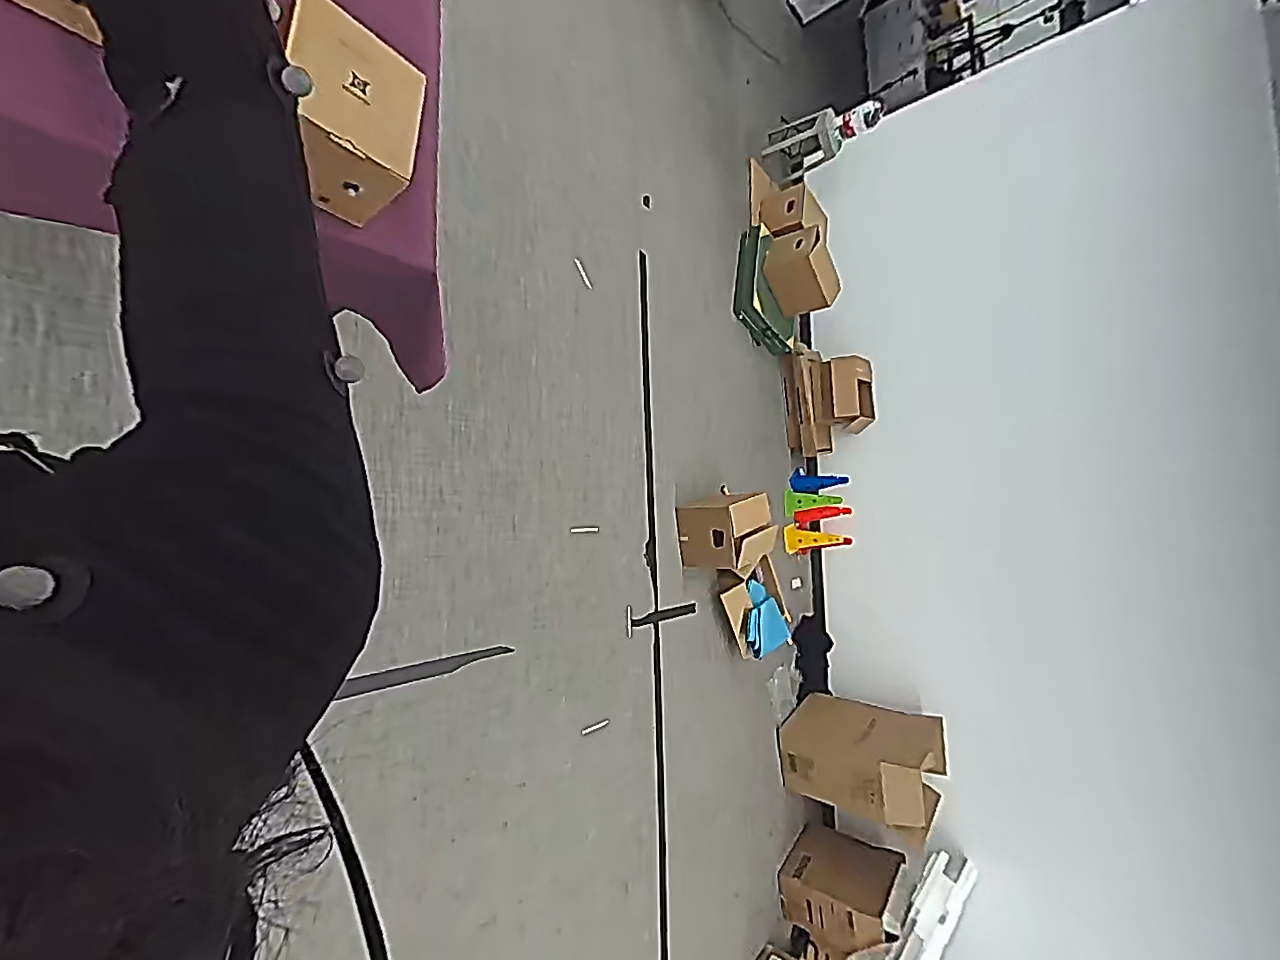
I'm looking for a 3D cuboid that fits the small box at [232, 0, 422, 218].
[{"bbox_3d":[-0.428,-0.500,0.741,0.168,0.176,0.179,16,72,-51],"label":"small box"}]
